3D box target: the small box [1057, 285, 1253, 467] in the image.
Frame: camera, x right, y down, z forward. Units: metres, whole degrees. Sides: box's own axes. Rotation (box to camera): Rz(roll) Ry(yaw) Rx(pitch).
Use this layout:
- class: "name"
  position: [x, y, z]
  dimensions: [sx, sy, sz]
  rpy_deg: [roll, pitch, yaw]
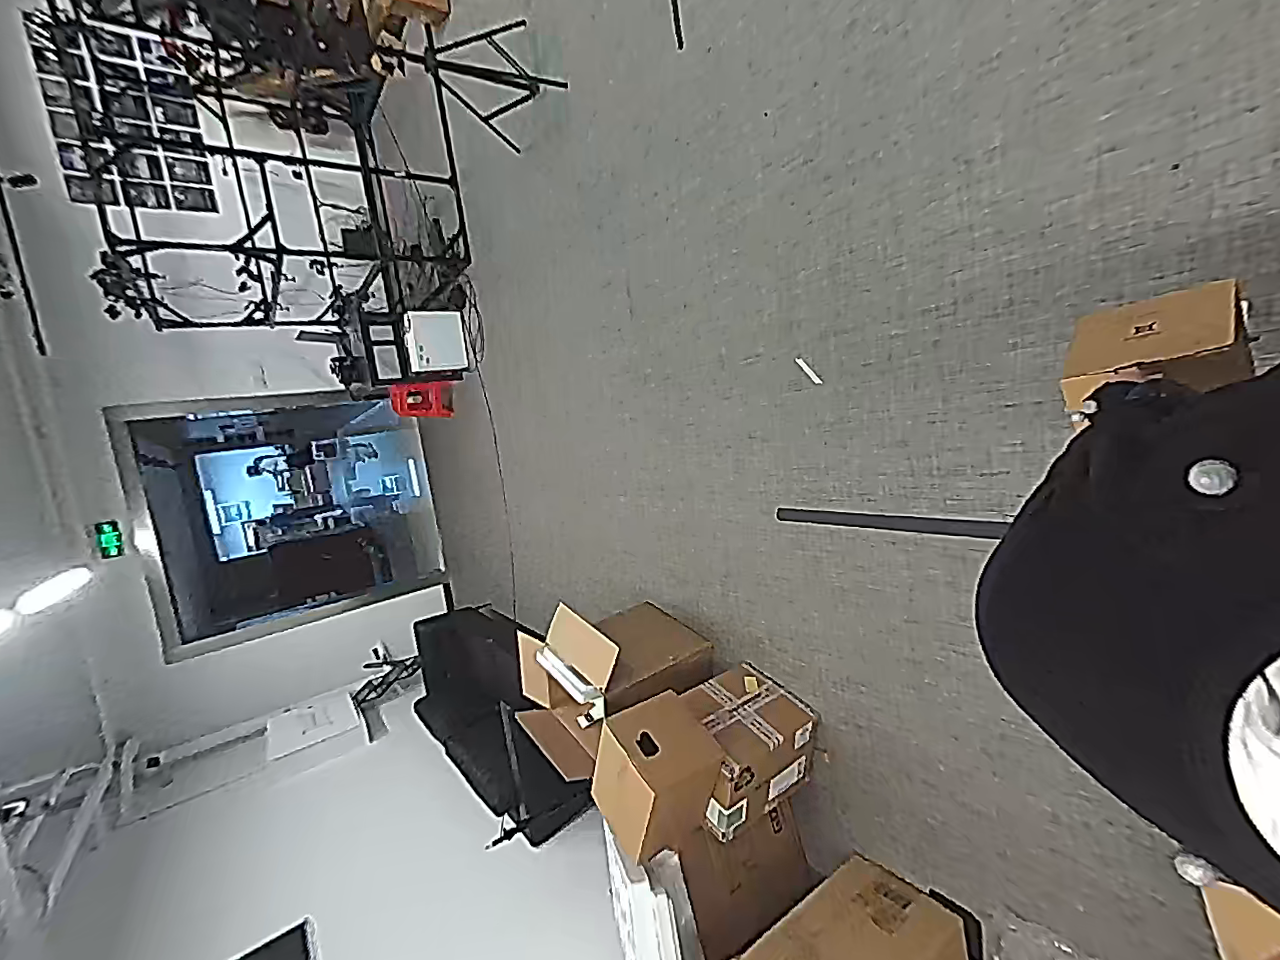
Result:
- class: "small box"
  position: [0.710, -0.129, 0.744]
  dimensions: [0.168, 0.179, 0.176]
  rpy_deg: [-8, 123, 52]
